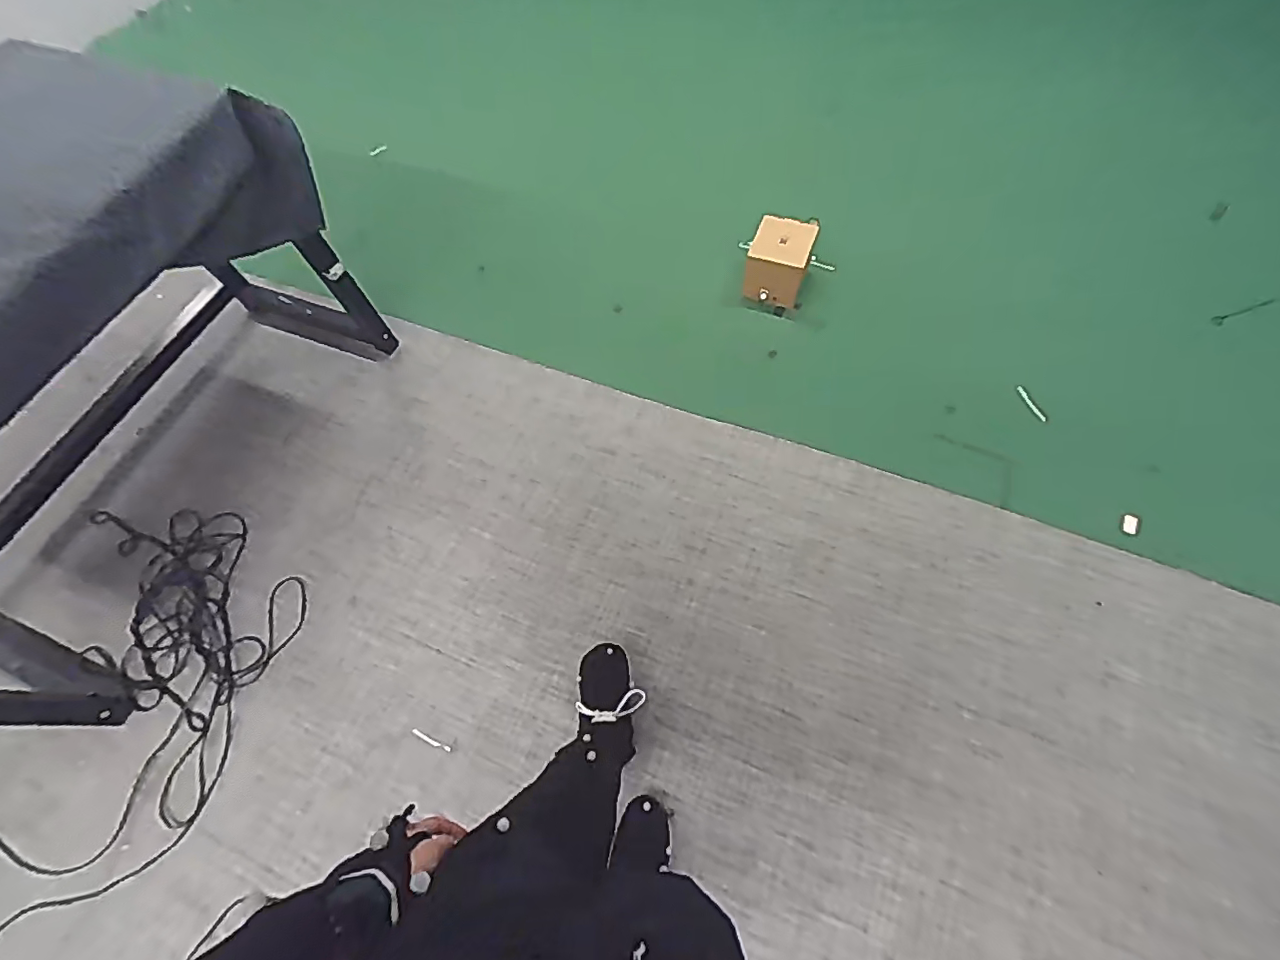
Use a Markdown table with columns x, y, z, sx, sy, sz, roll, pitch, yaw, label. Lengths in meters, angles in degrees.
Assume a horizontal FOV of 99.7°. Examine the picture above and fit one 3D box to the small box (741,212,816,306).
| x | y | z | sx | sy | sz | roll | pitch | yaw | label |
| --- | --- | --- | --- | --- | --- | --- | --- | --- | --- |
| 0.407 | -0.656 | 1.613 | 0.168 | 0.176 | 0.179 | 18 | 69 | 12 | small box |
